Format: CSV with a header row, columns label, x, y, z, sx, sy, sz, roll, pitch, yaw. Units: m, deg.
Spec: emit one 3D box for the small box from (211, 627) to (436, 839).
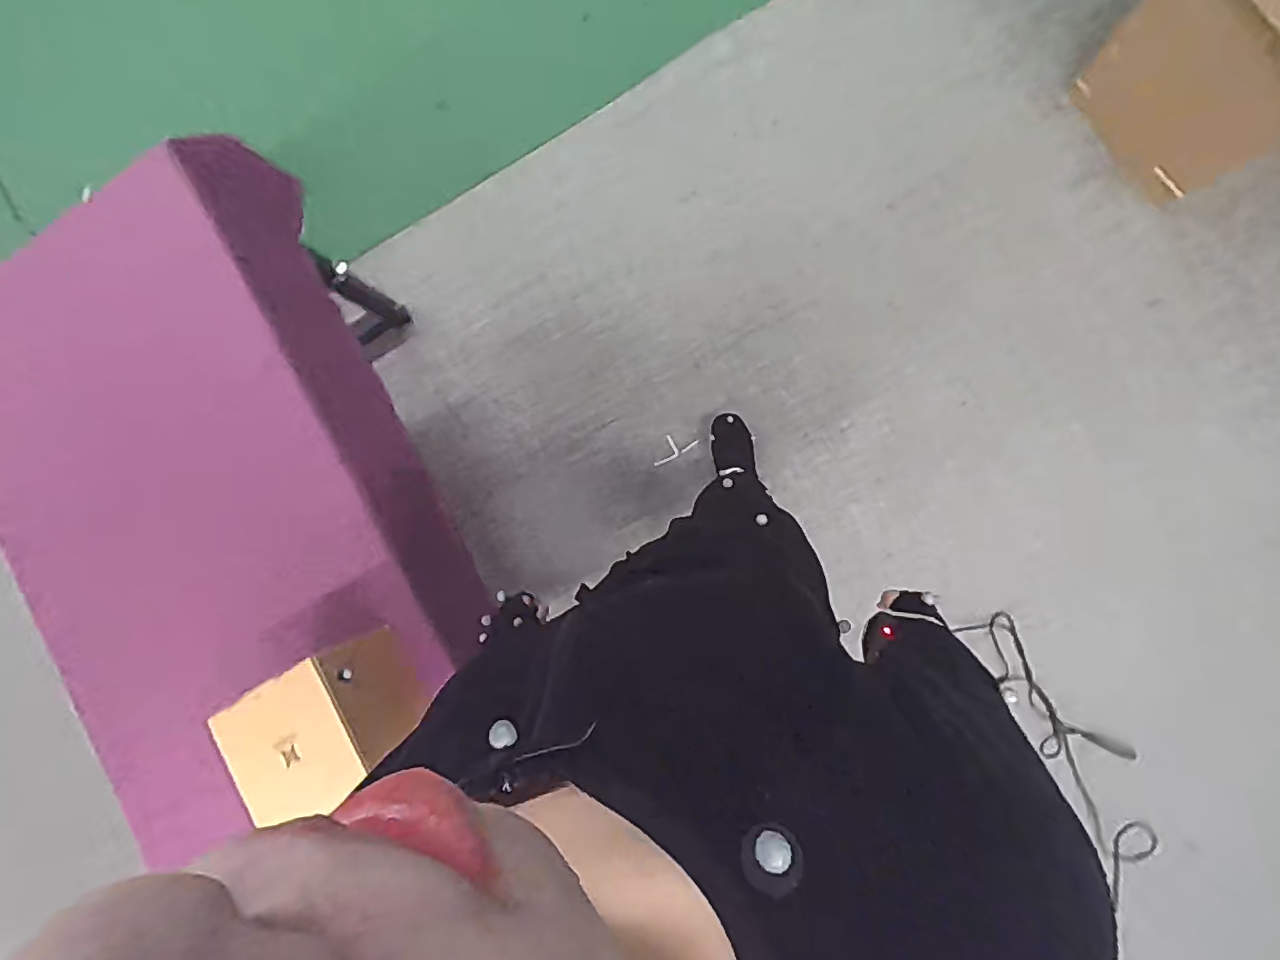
label,x,y,z,sx,sy,sz,roll,pitch,yaw
small box,-0.415,0.329,0.740,0.168,0.176,0.179,-31,84,5
